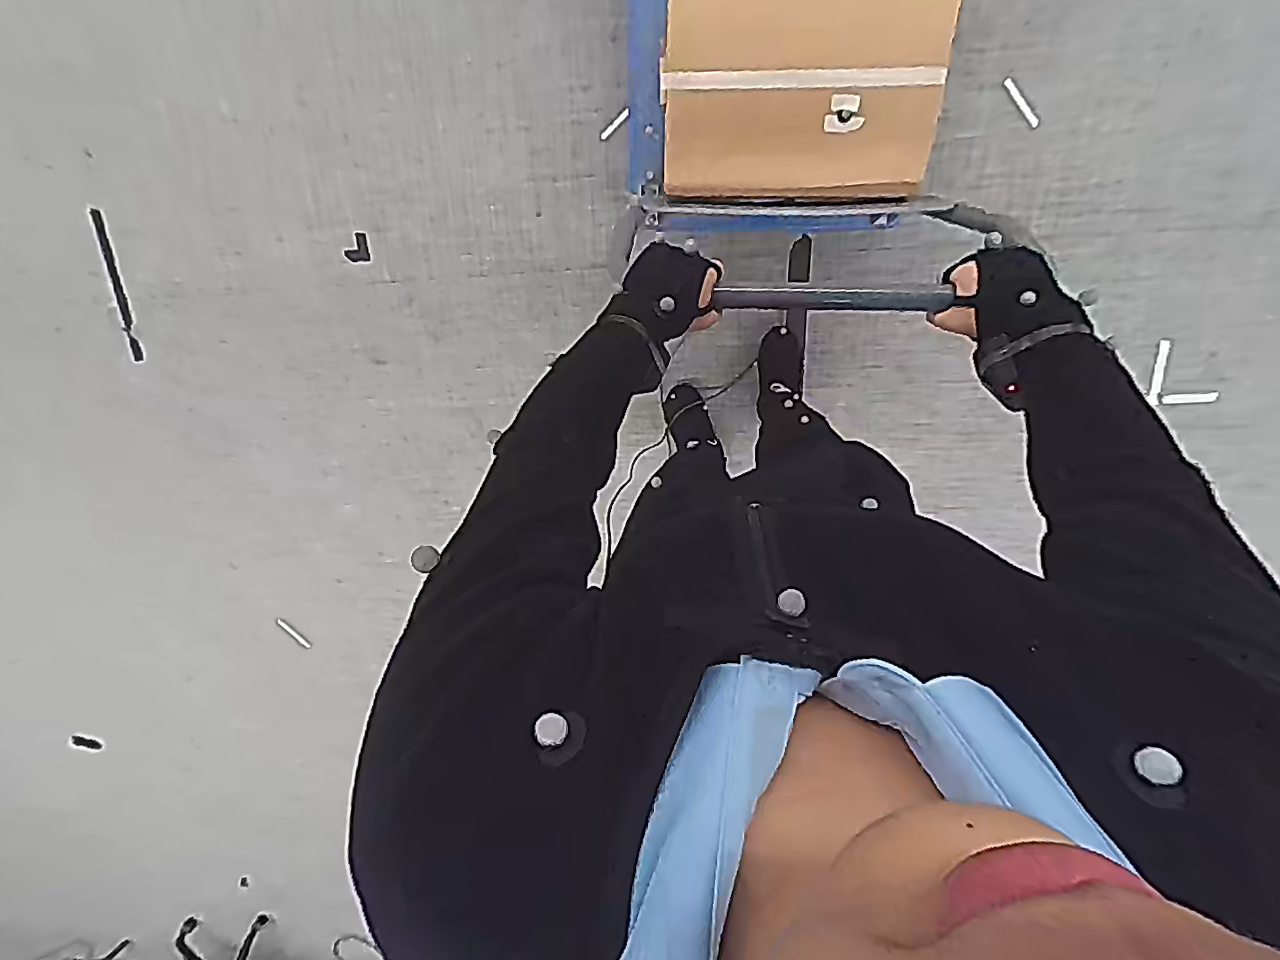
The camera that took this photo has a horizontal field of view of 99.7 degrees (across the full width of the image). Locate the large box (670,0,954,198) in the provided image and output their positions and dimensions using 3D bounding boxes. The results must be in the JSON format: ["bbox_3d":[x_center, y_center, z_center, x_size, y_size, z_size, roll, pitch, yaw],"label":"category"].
[{"bbox_3d":[0.255,-0.673,0.943,0.408,0.320,0.320,2,119,4],"label":"large box"}]
